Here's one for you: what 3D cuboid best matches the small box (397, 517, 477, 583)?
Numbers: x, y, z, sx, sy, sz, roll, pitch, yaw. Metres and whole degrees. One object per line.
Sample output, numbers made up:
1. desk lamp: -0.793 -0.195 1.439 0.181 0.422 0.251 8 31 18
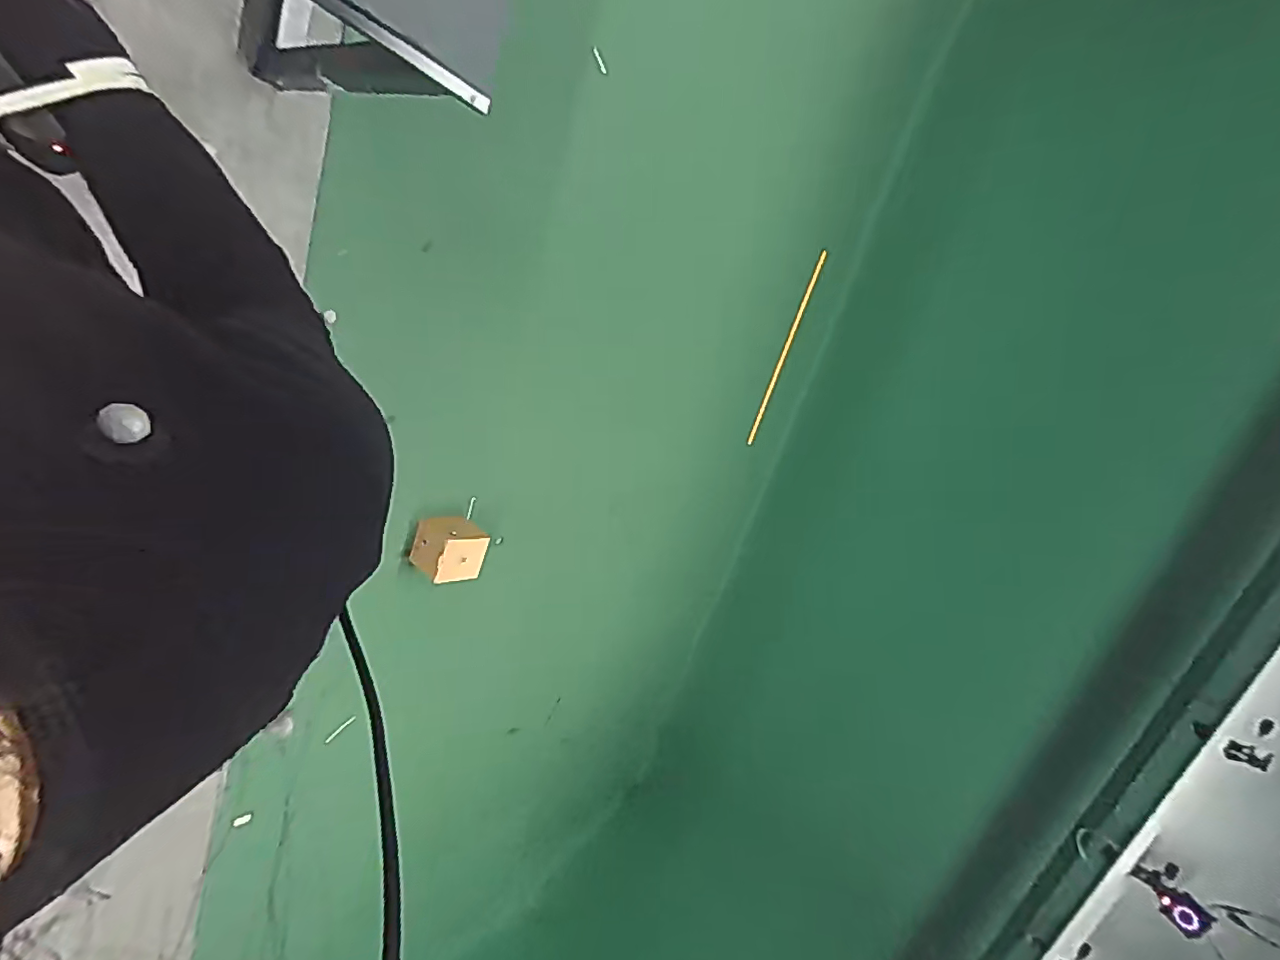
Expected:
1. small box: -0.705 0.236 1.877 0.179 0.176 0.168 4 111 -55
